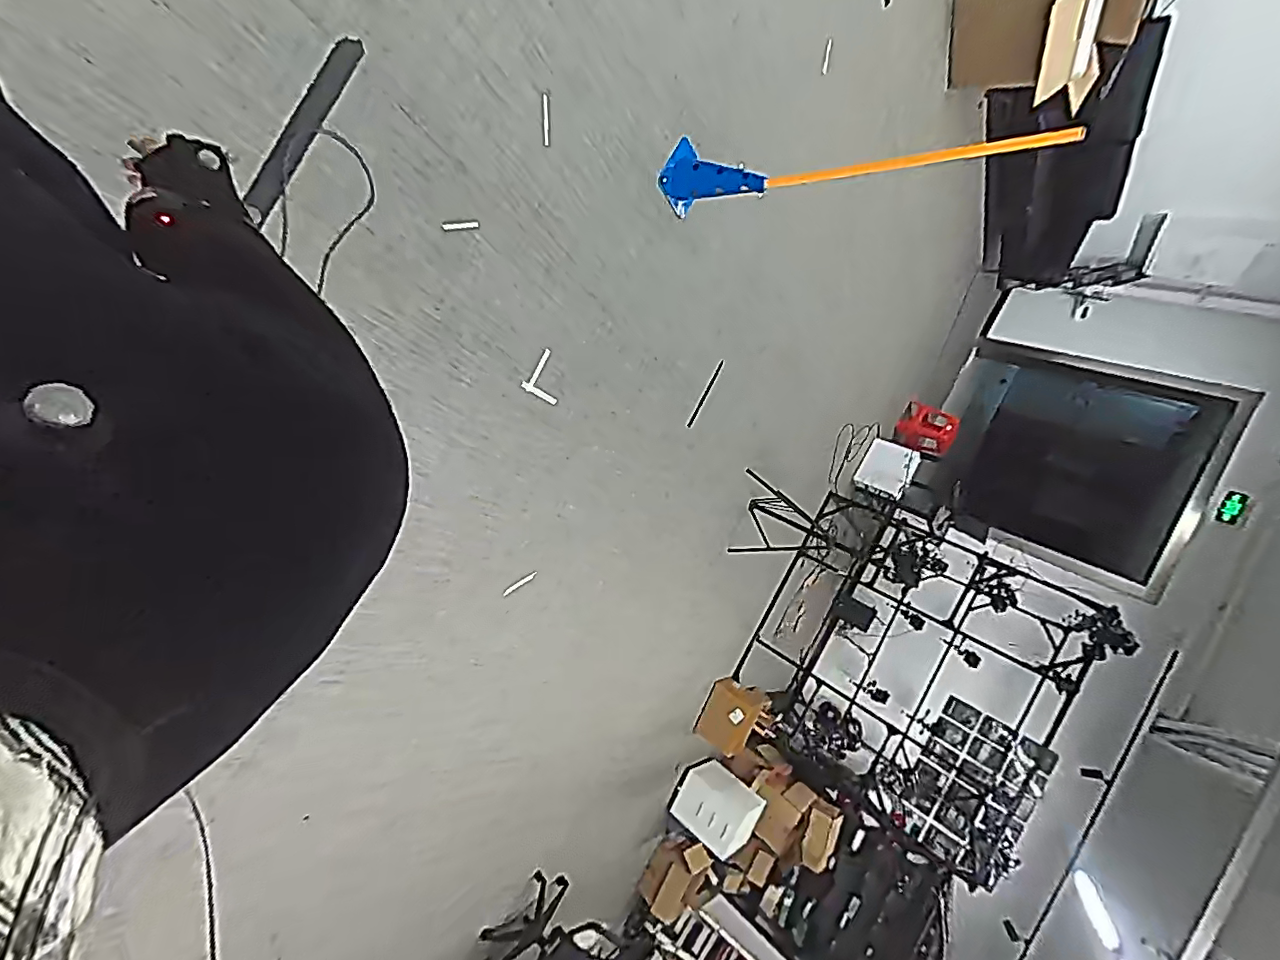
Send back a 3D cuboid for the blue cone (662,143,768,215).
[{"bbox_3d":[0.280,-1.036,1.878,0.192,0.380,0.193,-59,145,-4],"label":"blue cone"}]
